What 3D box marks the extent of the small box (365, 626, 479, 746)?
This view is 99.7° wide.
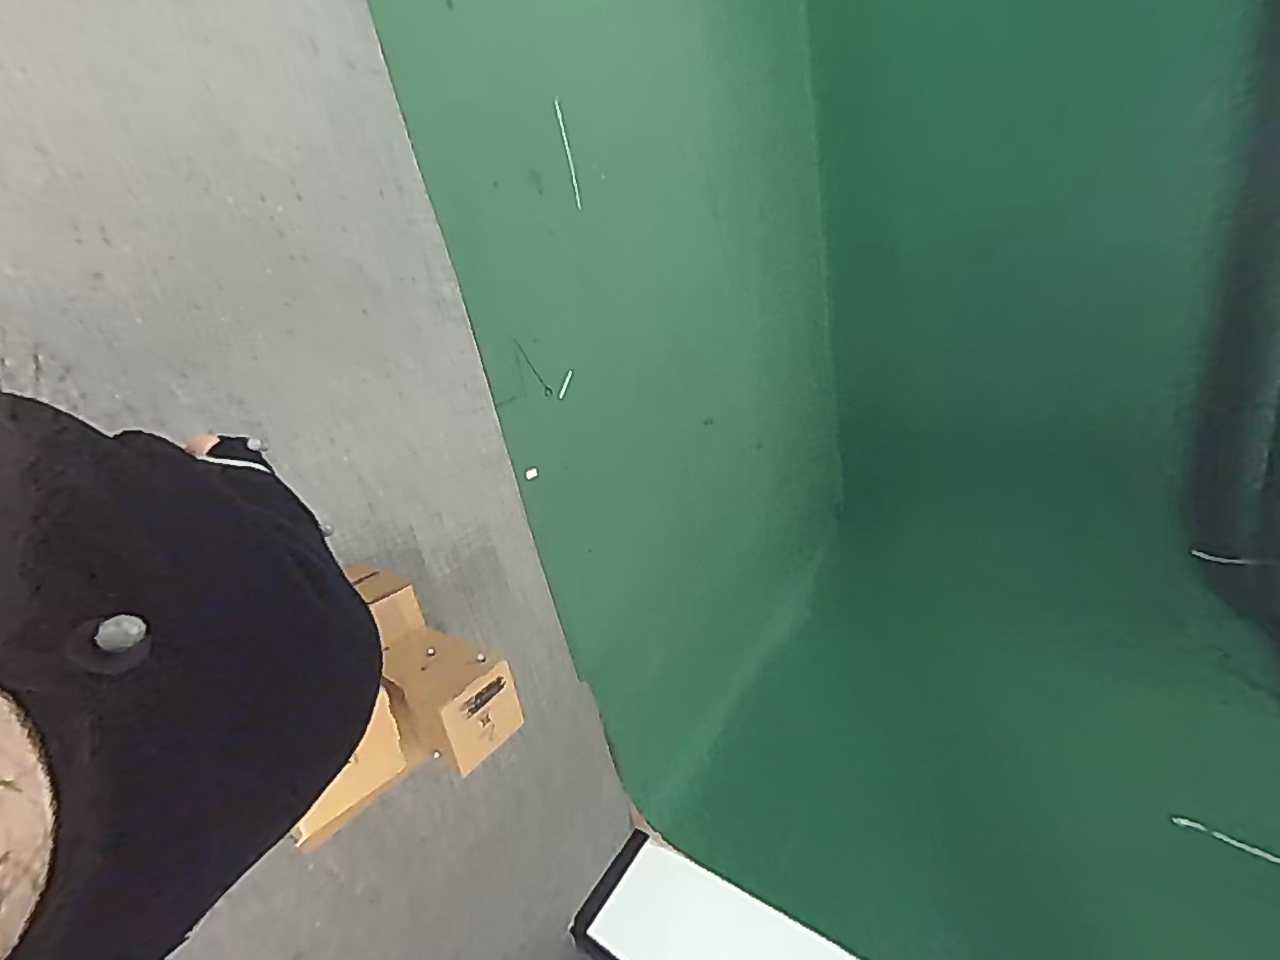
[{"bbox_3d":[-0.503,0.467,1.252,0.168,0.176,0.179,-26,115,-48],"label":"small box"}]

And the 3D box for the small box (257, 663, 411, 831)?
[{"bbox_3d":[-0.539,0.452,0.946,0.179,0.176,0.168,-23,112,-46],"label":"small box"}]
